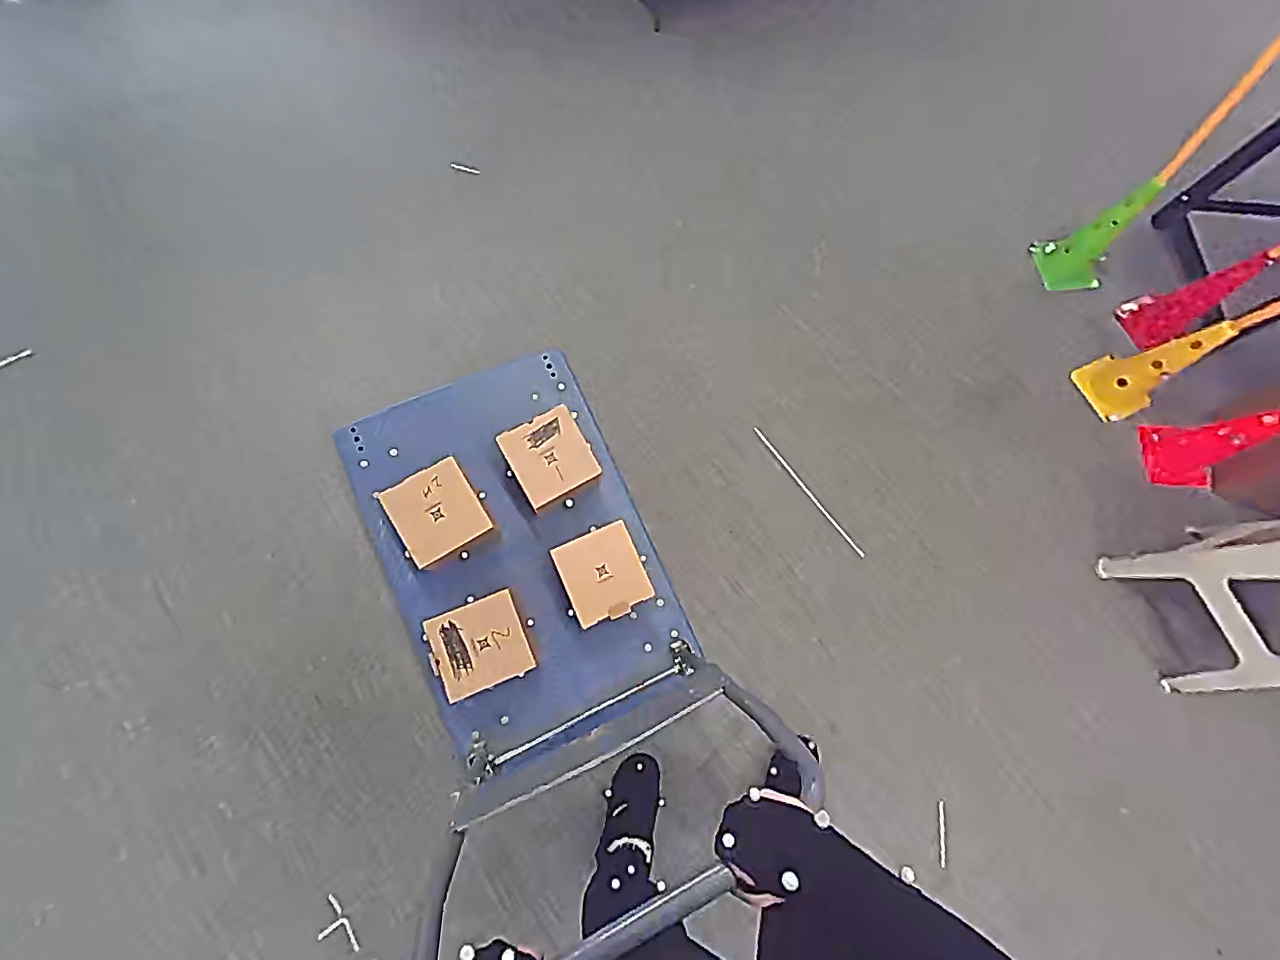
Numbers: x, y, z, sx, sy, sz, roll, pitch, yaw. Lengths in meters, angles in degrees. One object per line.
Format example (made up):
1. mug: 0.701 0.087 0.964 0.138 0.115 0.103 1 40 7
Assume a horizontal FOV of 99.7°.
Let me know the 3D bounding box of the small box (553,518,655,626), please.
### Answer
1. small box: -0.086 0.202 1.188 0.168 0.176 0.179 -23 84 -11

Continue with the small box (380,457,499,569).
1. small box: -0.419 0.075 1.164 0.168 0.176 0.179 -30 85 -13

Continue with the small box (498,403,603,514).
1. small box: -0.199 -0.041 1.216 0.168 0.176 0.179 -29 85 -11
